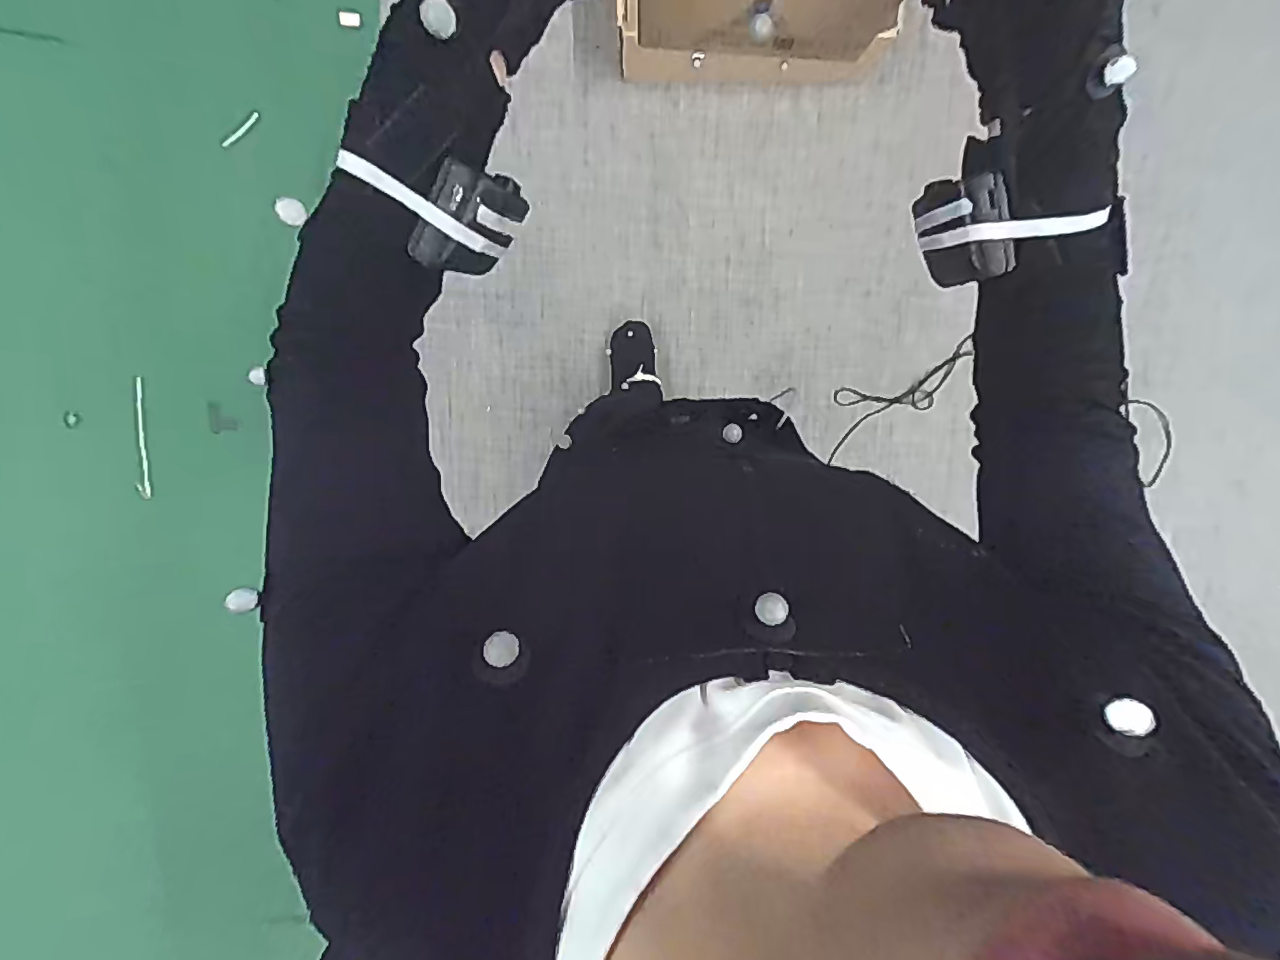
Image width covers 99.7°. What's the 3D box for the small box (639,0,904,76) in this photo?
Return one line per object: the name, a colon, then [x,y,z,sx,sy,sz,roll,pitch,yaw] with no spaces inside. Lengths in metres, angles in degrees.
small box: [0.086,-0.376,0.305,0.168,0.176,0.179,4,101,-1]
